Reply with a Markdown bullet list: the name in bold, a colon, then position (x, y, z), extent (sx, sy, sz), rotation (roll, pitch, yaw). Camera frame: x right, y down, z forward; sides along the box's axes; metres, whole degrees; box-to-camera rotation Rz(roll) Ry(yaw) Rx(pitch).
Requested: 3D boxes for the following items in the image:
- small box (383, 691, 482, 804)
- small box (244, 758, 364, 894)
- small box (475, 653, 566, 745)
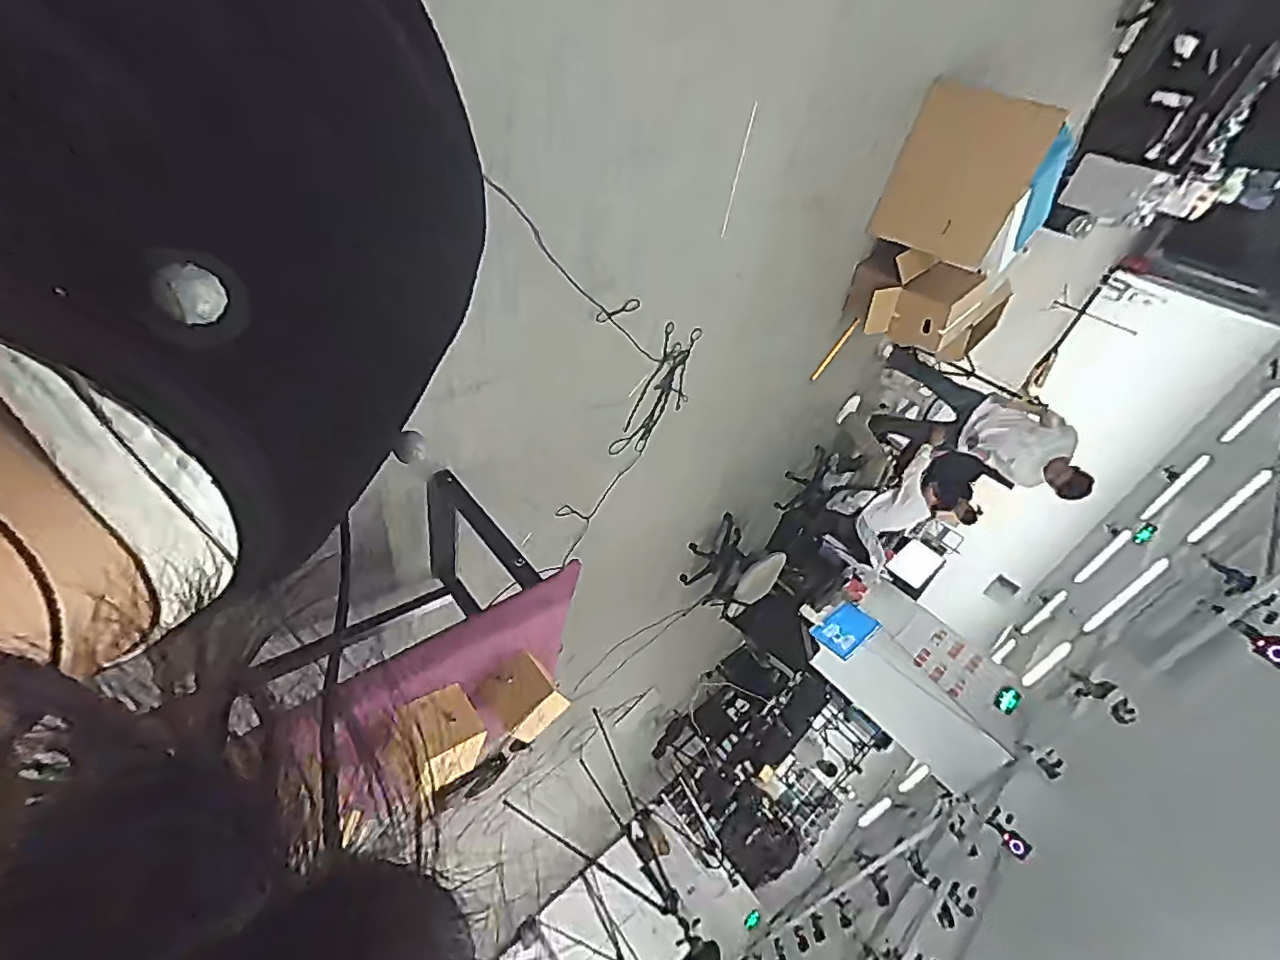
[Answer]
- **small box**: position (-0.535, 0.669, 1.383), extent (0.168, 0.176, 0.179), rotation (-11, 133, -48)
- **small box**: position (-0.744, 0.762, 1.205), extent (0.168, 0.176, 0.179), rotation (-26, 142, -36)
- **small box**: position (-0.350, 0.640, 1.590), extent (0.168, 0.176, 0.179), rotation (-40, 148, -17)
